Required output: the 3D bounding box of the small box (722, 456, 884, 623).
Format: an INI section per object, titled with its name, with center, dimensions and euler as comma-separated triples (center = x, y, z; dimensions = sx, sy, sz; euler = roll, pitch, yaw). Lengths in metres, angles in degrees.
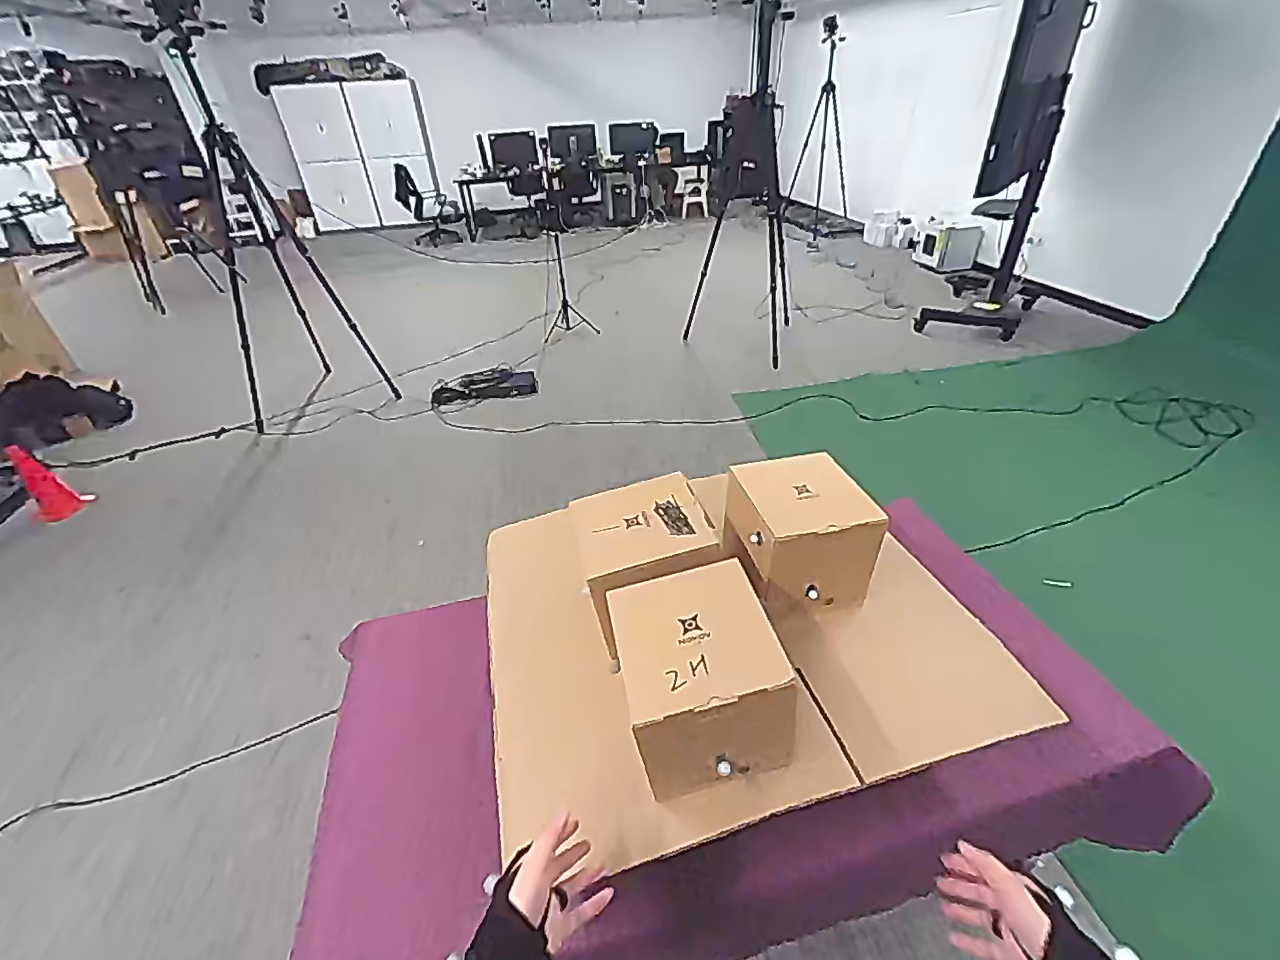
[small box]
center = 0.231, 0.086, 0.822
dimensions = 0.168, 0.176, 0.179
euler = -8, 37, -10
